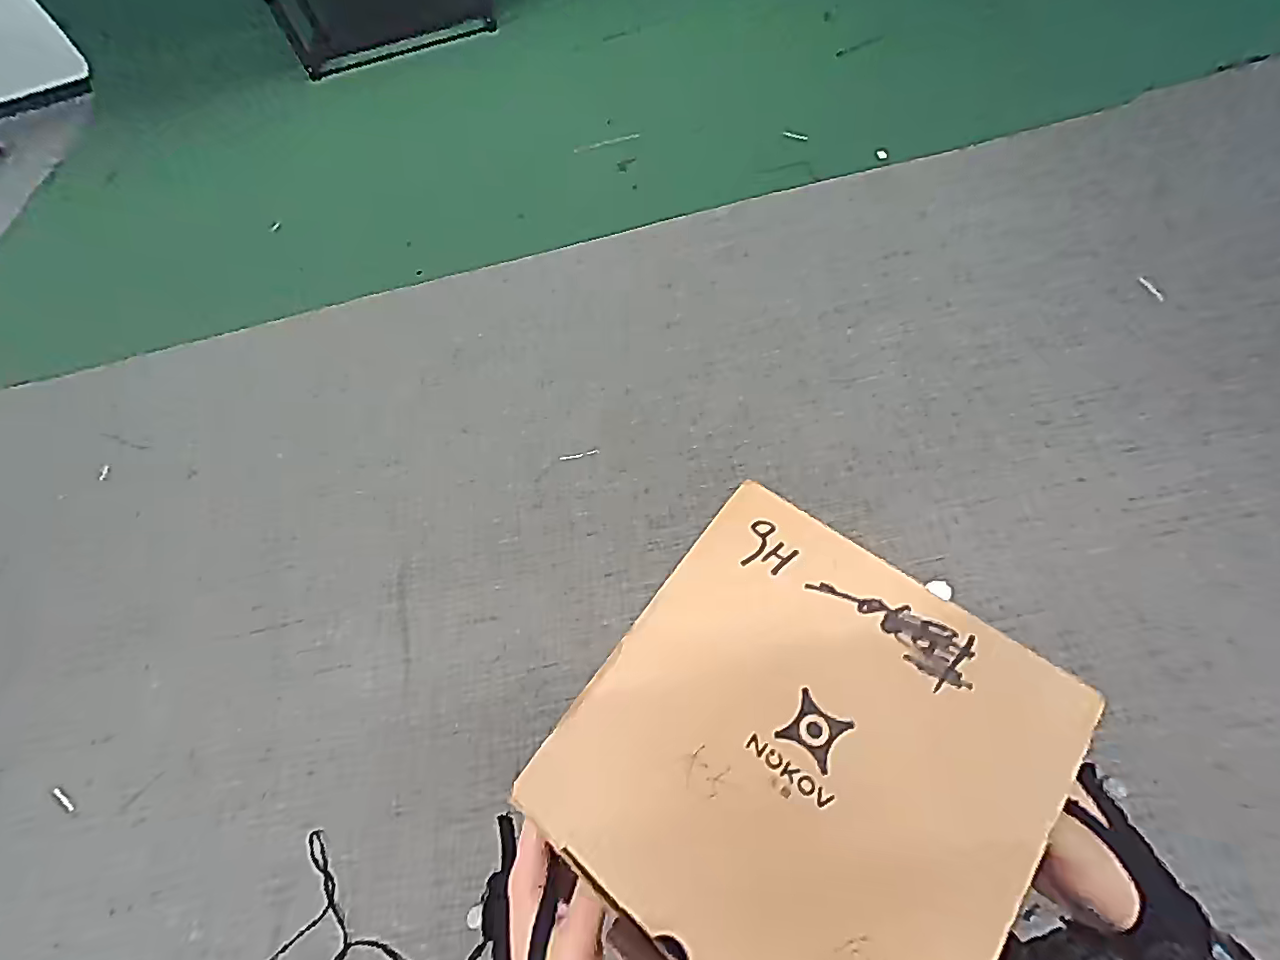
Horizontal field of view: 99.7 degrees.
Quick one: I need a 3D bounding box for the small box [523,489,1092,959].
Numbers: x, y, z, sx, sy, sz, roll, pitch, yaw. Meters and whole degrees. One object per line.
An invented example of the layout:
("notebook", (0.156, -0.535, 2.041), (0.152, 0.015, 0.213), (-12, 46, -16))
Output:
("small box", (0.075, 0.143, 0.291), (0.168, 0.176, 0.179), (34, 73, 21))
